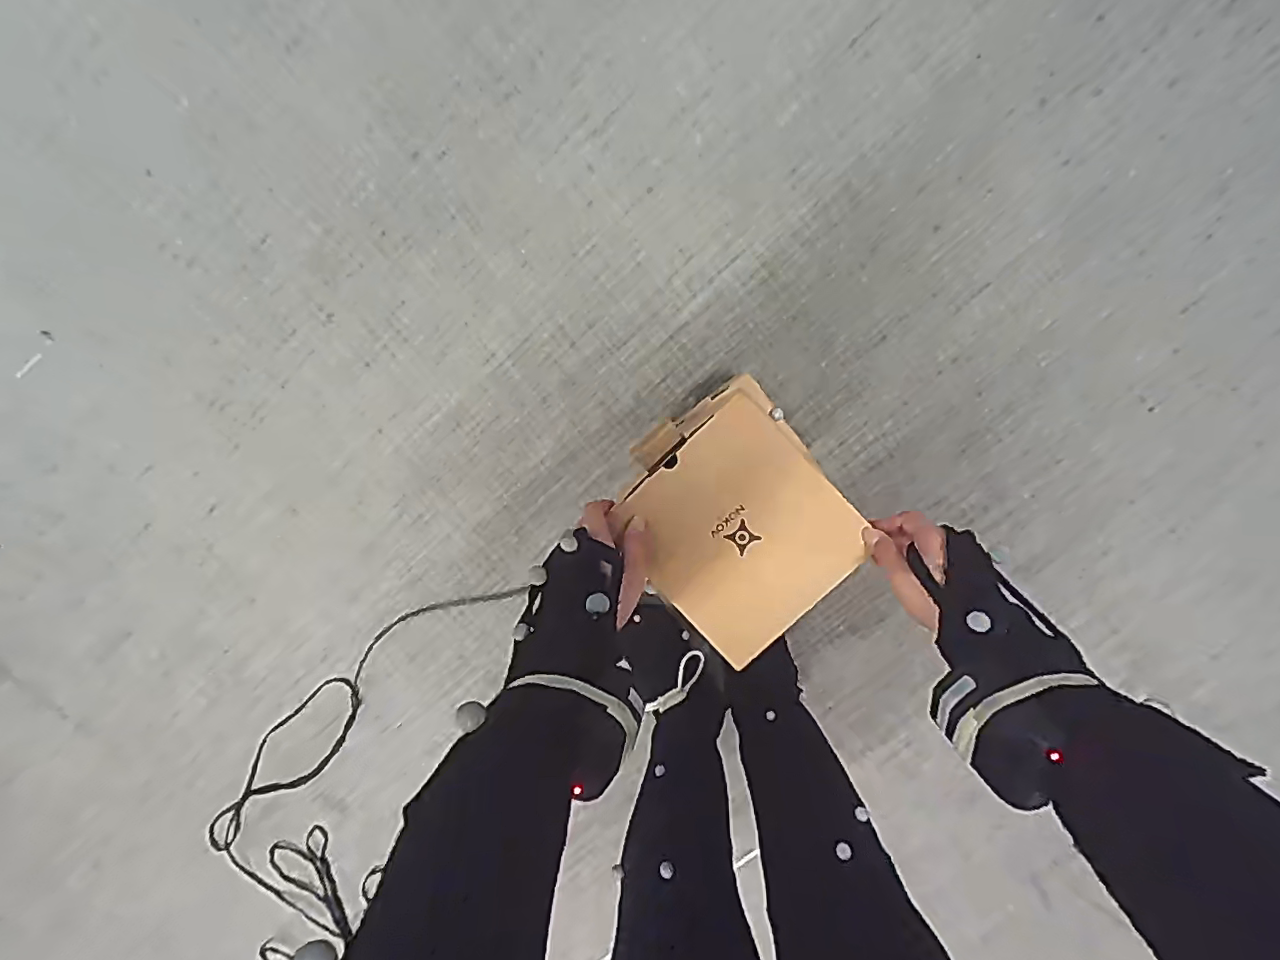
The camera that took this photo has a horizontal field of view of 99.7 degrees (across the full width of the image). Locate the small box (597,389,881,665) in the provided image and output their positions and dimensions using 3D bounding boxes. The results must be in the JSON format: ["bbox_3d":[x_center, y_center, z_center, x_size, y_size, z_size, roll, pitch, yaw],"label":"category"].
[{"bbox_3d":[0.085,0.033,0.521,0.168,0.176,0.179,-44,91,6],"label":"small box"}]

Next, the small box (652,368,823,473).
[{"bbox_3d":[0.135,-0.042,0.803,0.168,0.176,0.179,-37,94,9],"label":"small box"}]
